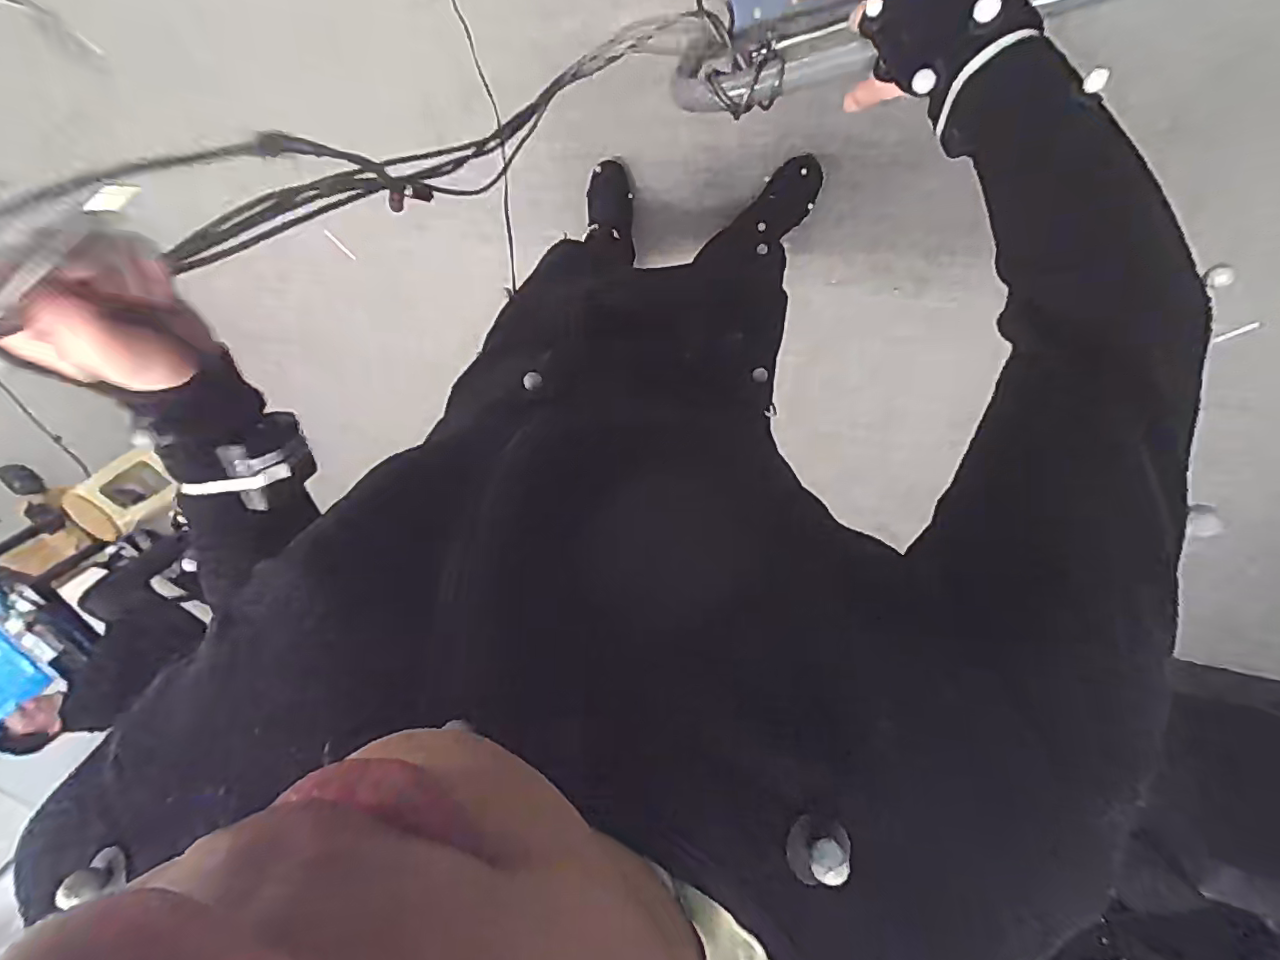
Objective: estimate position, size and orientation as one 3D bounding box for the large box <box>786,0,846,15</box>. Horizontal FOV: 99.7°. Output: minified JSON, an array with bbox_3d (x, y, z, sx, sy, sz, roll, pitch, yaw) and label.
[{"bbox_3d":[0.337,-0.925,0.709,0.320,0.320,0.408,1,124,23],"label":"large box"}]
